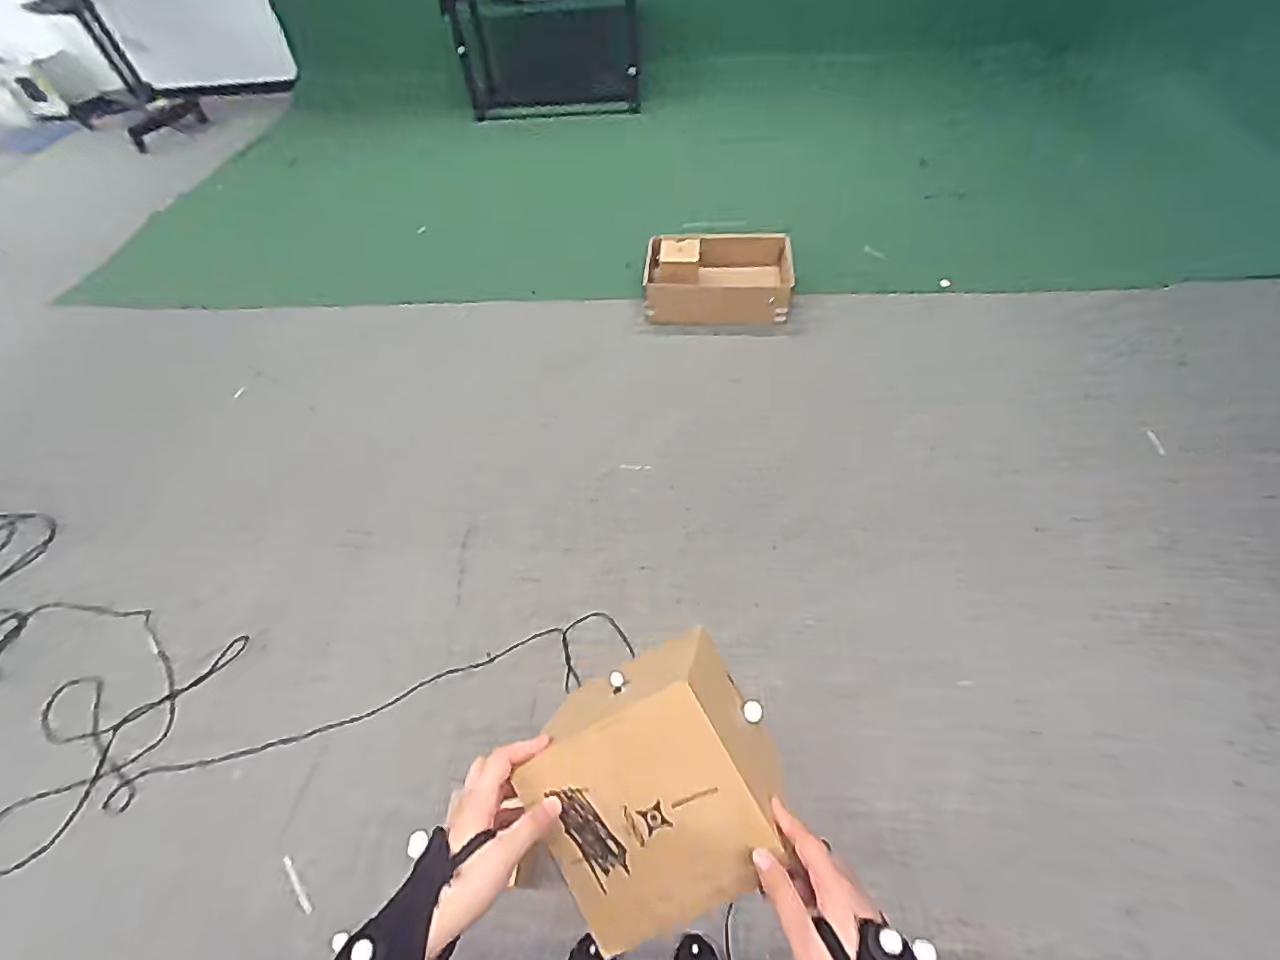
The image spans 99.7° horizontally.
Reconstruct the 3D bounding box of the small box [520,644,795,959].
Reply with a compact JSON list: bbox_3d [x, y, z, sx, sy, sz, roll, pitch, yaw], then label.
[{"bbox_3d":[0.025,0.284,0.512,0.179,0.176,0.168,-30,85,9],"label":"small box"}]

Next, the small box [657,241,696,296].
[{"bbox_3d":[0.164,-0.934,2.399,0.168,0.176,0.179,2,54,5],"label":"small box"}]

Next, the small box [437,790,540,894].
[{"bbox_3d":[-0.318,0.792,1.180,0.168,0.176,0.179,-2,52,3],"label":"small box"}]
